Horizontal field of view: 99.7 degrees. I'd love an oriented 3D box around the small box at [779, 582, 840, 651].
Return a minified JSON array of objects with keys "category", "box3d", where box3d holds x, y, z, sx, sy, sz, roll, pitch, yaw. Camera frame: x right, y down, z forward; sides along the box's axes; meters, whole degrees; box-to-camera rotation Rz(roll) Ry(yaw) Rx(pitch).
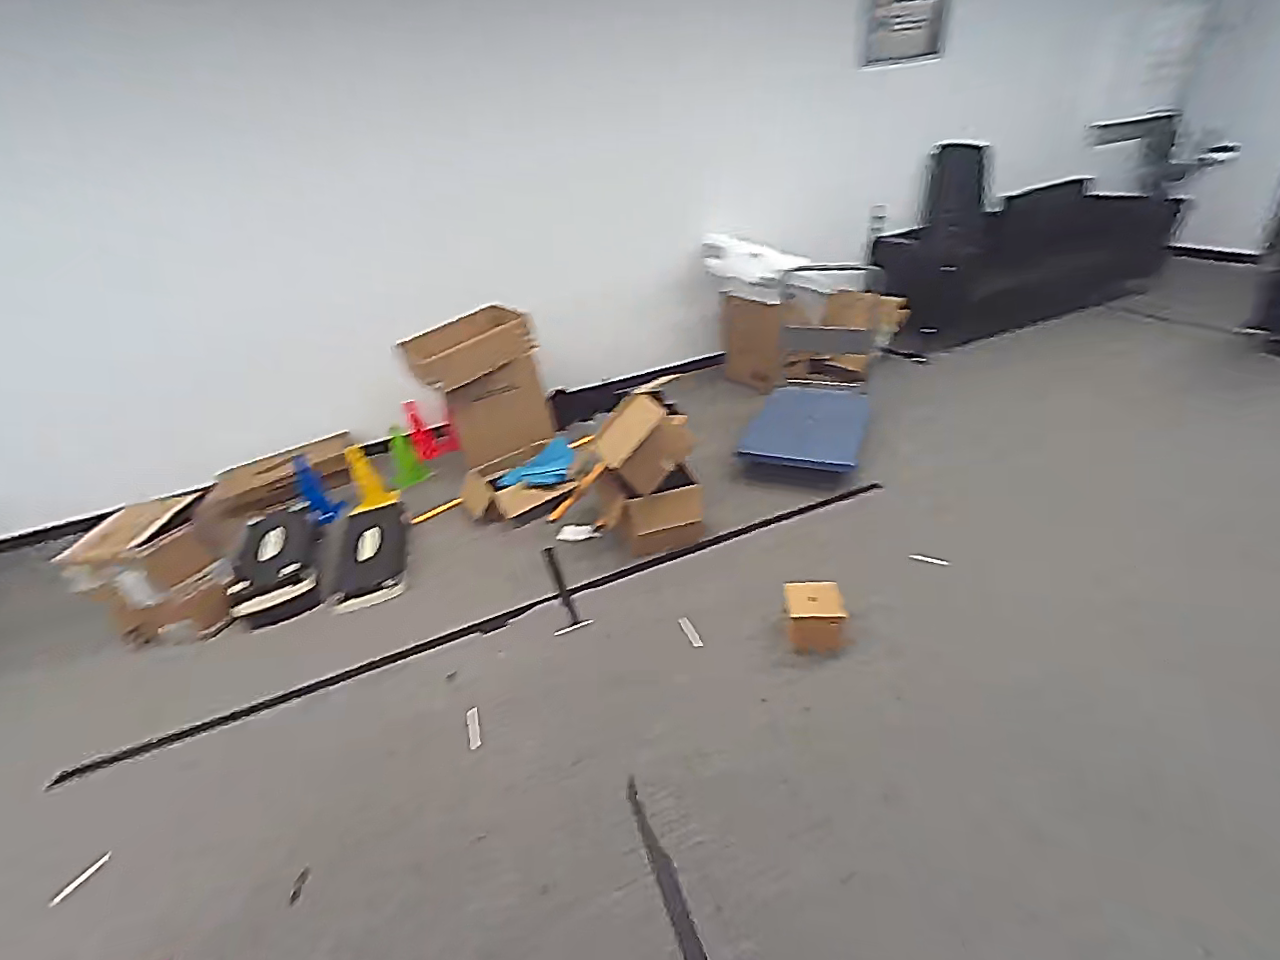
[{"category":"small box","box3d":[0.586,0.478,1.885,0.179,0.176,0.168,-4,31,6]}]
